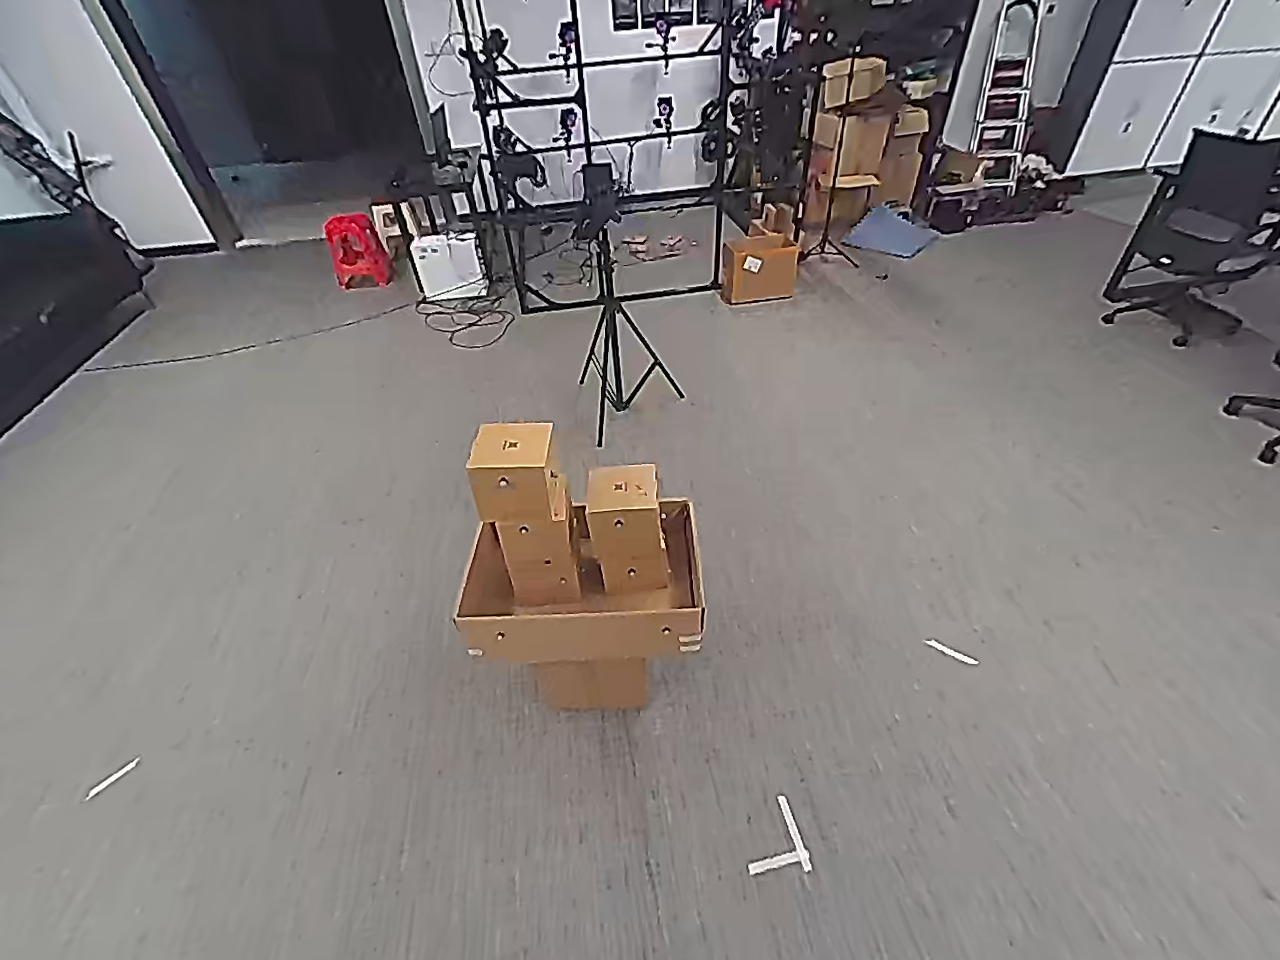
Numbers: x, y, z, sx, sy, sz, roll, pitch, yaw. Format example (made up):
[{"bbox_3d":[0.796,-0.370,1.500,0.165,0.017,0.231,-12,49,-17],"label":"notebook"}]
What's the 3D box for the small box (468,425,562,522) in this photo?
[{"bbox_3d":[-0.284,-0.014,1.273,0.179,0.176,0.168,-2,41,1],"label":"small box"}]
